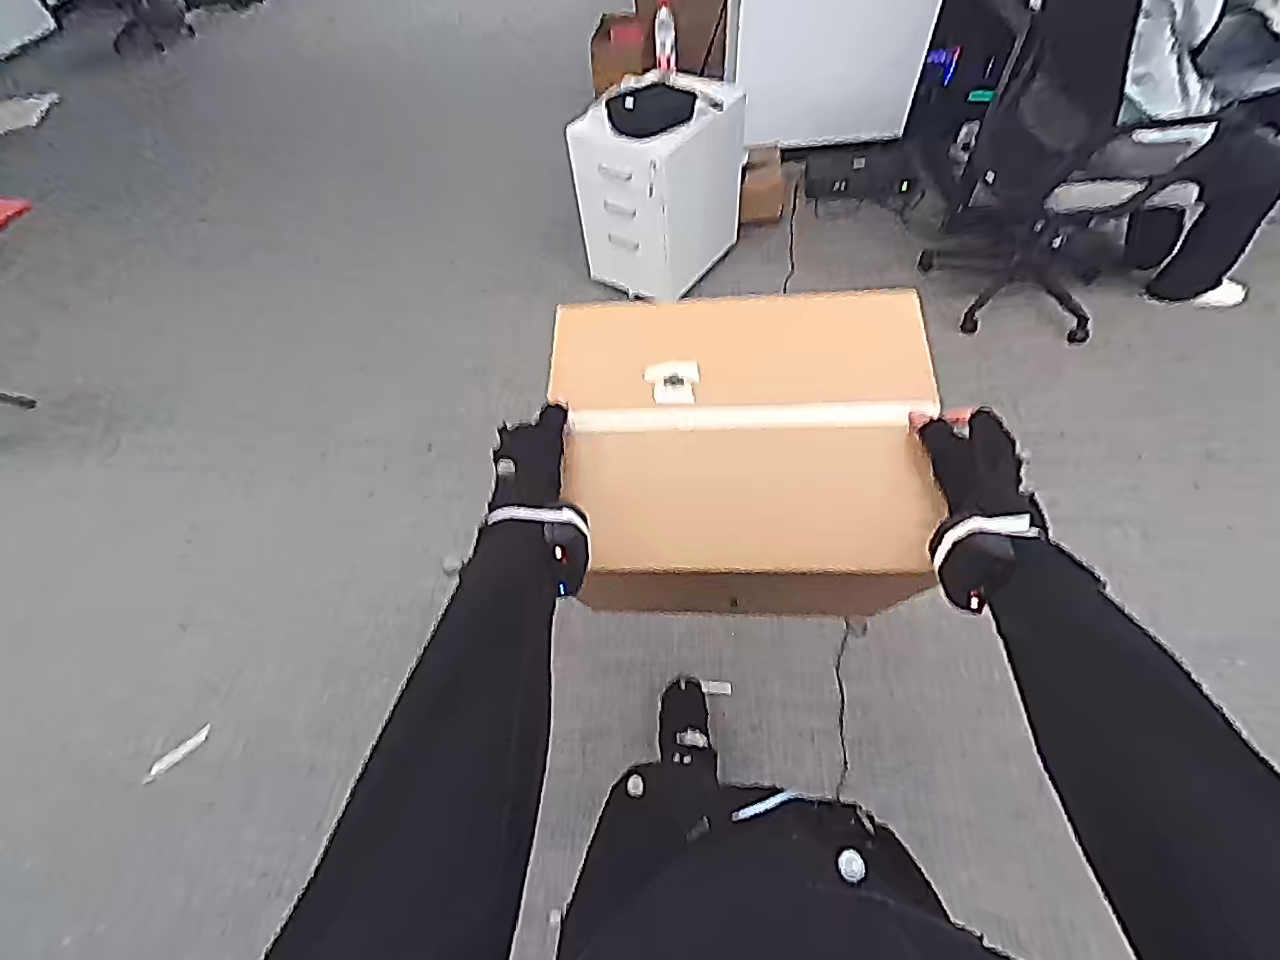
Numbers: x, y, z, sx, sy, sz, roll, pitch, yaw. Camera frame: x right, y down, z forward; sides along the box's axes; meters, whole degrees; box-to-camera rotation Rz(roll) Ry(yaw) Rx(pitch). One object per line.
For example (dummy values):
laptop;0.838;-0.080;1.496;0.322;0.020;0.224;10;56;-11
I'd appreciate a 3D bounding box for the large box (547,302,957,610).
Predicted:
large box;0.123;-0.001;0.718;0.408;0.320;0.320;-1;68;7
